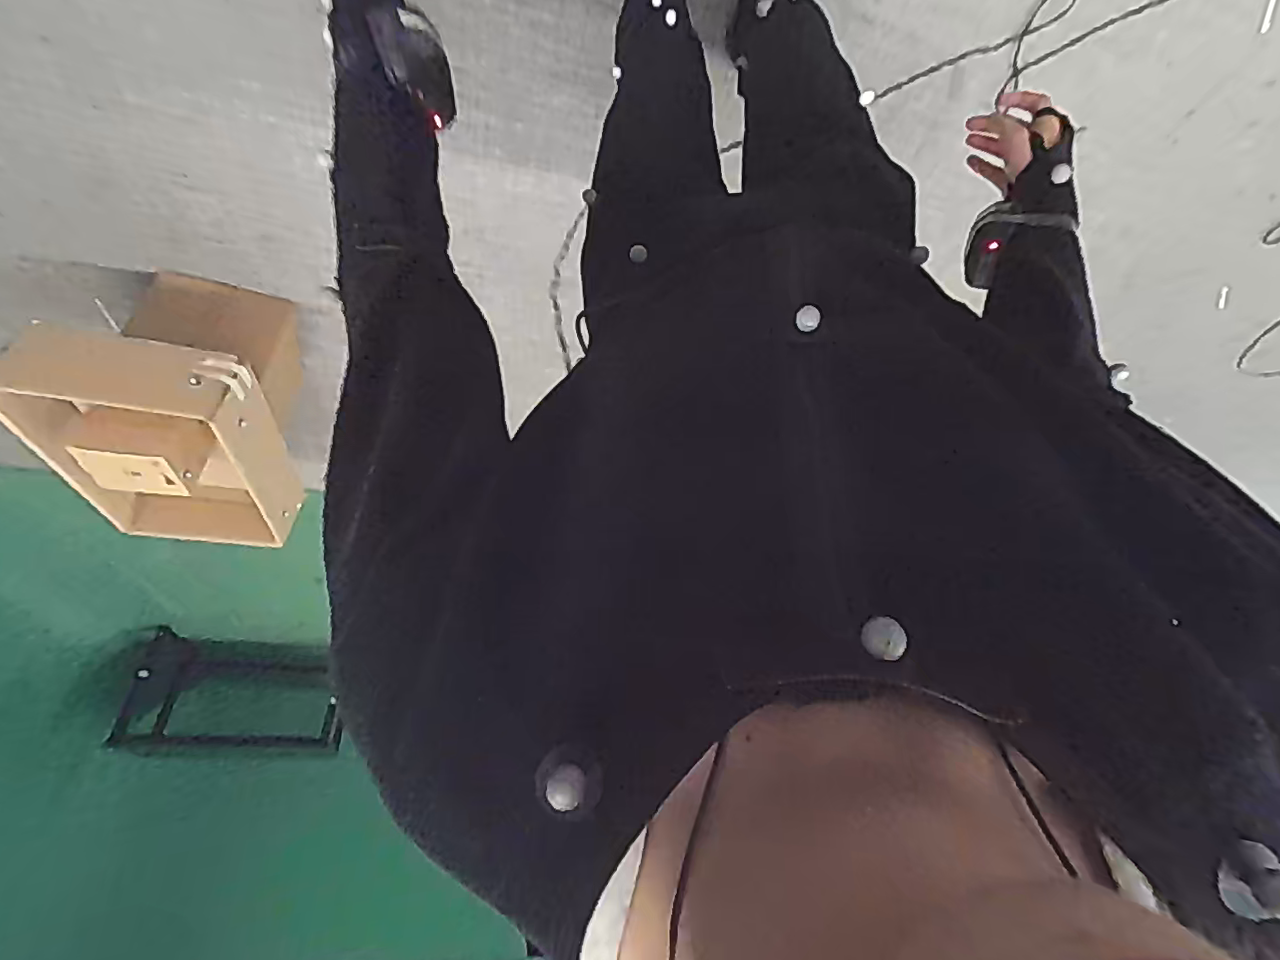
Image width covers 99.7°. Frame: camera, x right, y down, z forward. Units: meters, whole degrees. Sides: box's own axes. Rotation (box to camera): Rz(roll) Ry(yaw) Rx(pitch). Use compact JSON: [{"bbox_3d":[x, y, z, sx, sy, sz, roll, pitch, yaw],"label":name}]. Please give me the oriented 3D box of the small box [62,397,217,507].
[{"bbox_3d":[-1.108,-0.064,1.216,0.179,0.176,0.168,11,143,-15],"label":"small box"}]
